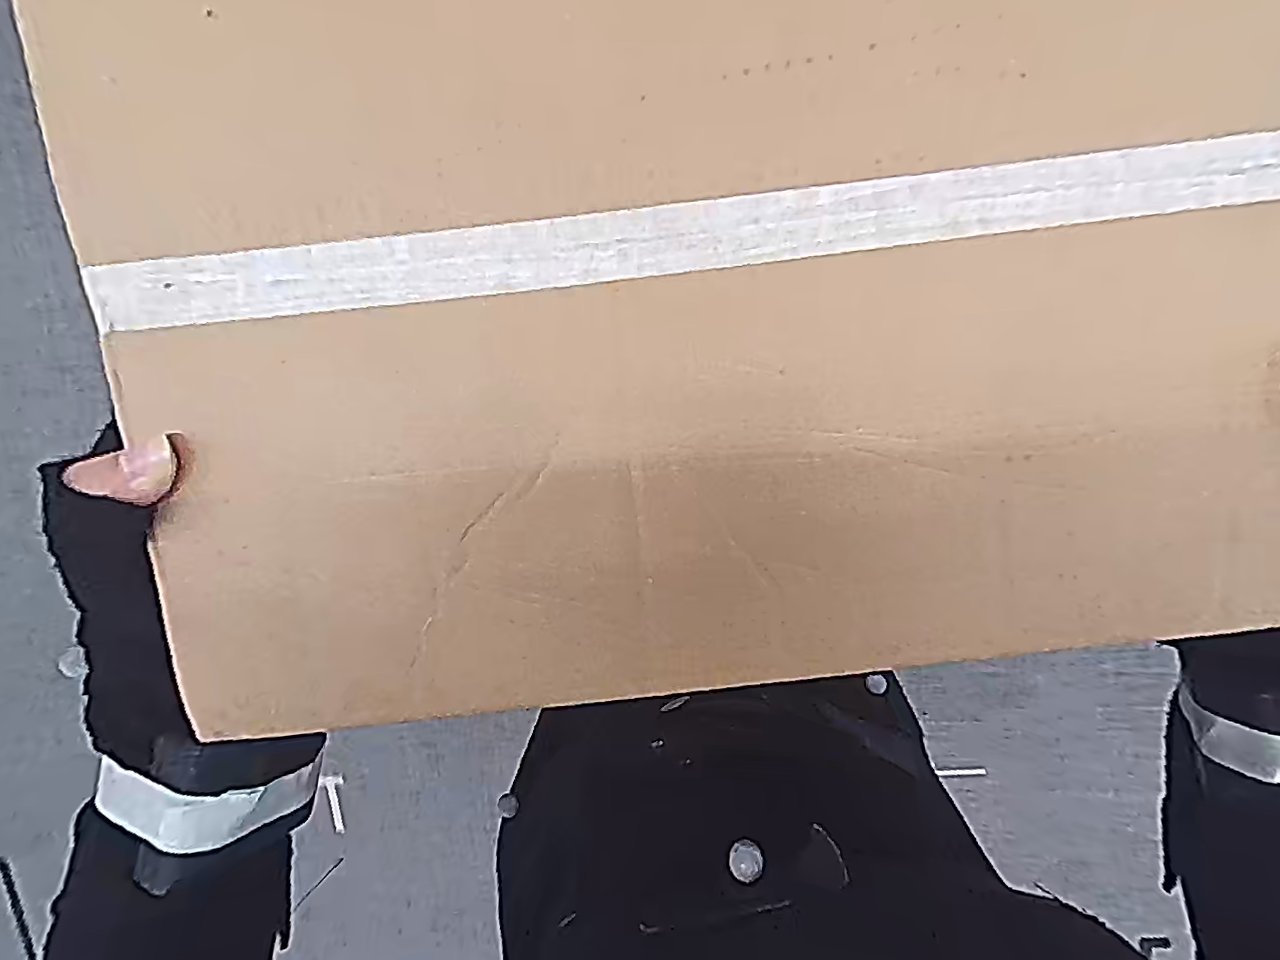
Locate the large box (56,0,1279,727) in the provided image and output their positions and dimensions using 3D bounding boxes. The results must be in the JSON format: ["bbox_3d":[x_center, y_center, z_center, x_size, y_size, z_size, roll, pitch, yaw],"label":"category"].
[{"bbox_3d":[0.021,-0.098,0.336,0.408,0.320,0.320,-6,97,0],"label":"large box"}]
